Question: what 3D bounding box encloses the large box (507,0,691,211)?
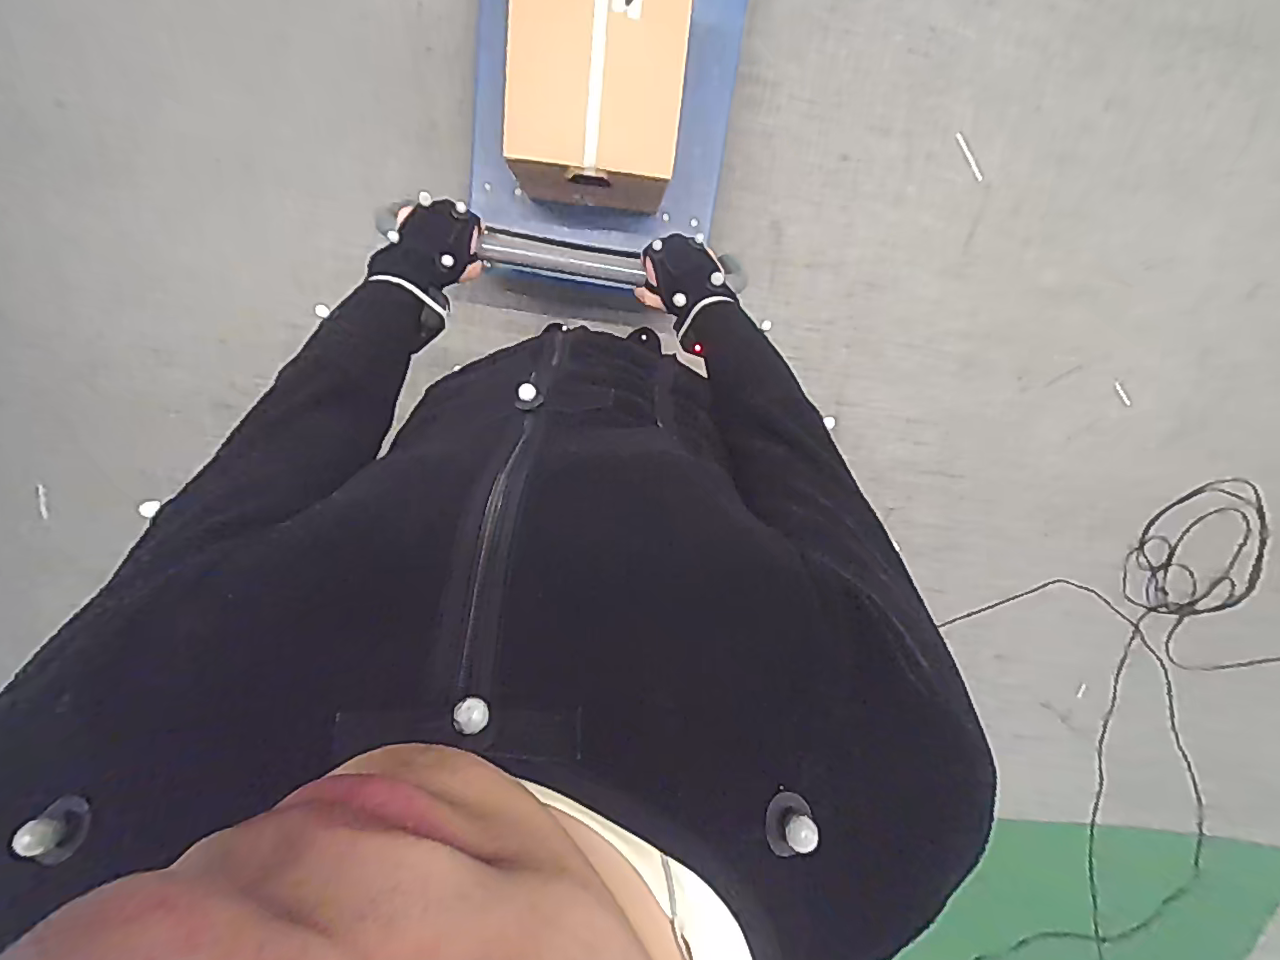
[{"bbox_3d":[-0.079,-0.802,1.092,0.320,0.320,0.408,5,105,-5],"label":"large box"}]
